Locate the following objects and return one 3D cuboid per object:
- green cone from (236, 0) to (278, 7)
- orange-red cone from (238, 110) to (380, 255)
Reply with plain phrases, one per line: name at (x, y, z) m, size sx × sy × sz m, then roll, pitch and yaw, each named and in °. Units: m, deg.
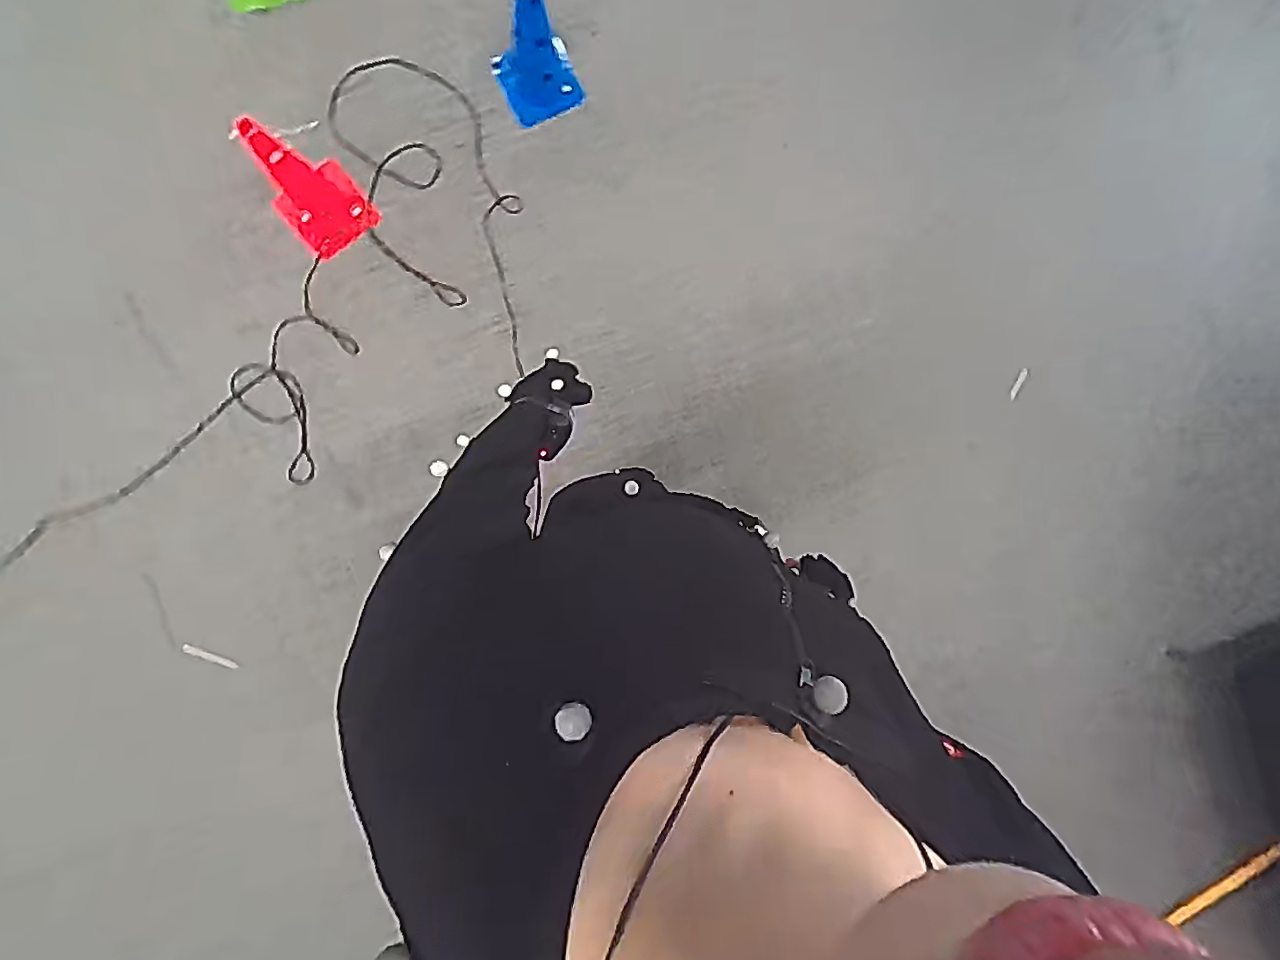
green cone at (-0.938, -1.310, 1.199) m, size 0.200 × 0.368 × 0.202 m, roll -18°, pitch 94°, yaw -5°
orange-red cone at (-0.789, -0.708, 1.233) m, size 0.198 × 0.360 × 0.199 m, roll -39°, pitch 93°, yaw -5°
